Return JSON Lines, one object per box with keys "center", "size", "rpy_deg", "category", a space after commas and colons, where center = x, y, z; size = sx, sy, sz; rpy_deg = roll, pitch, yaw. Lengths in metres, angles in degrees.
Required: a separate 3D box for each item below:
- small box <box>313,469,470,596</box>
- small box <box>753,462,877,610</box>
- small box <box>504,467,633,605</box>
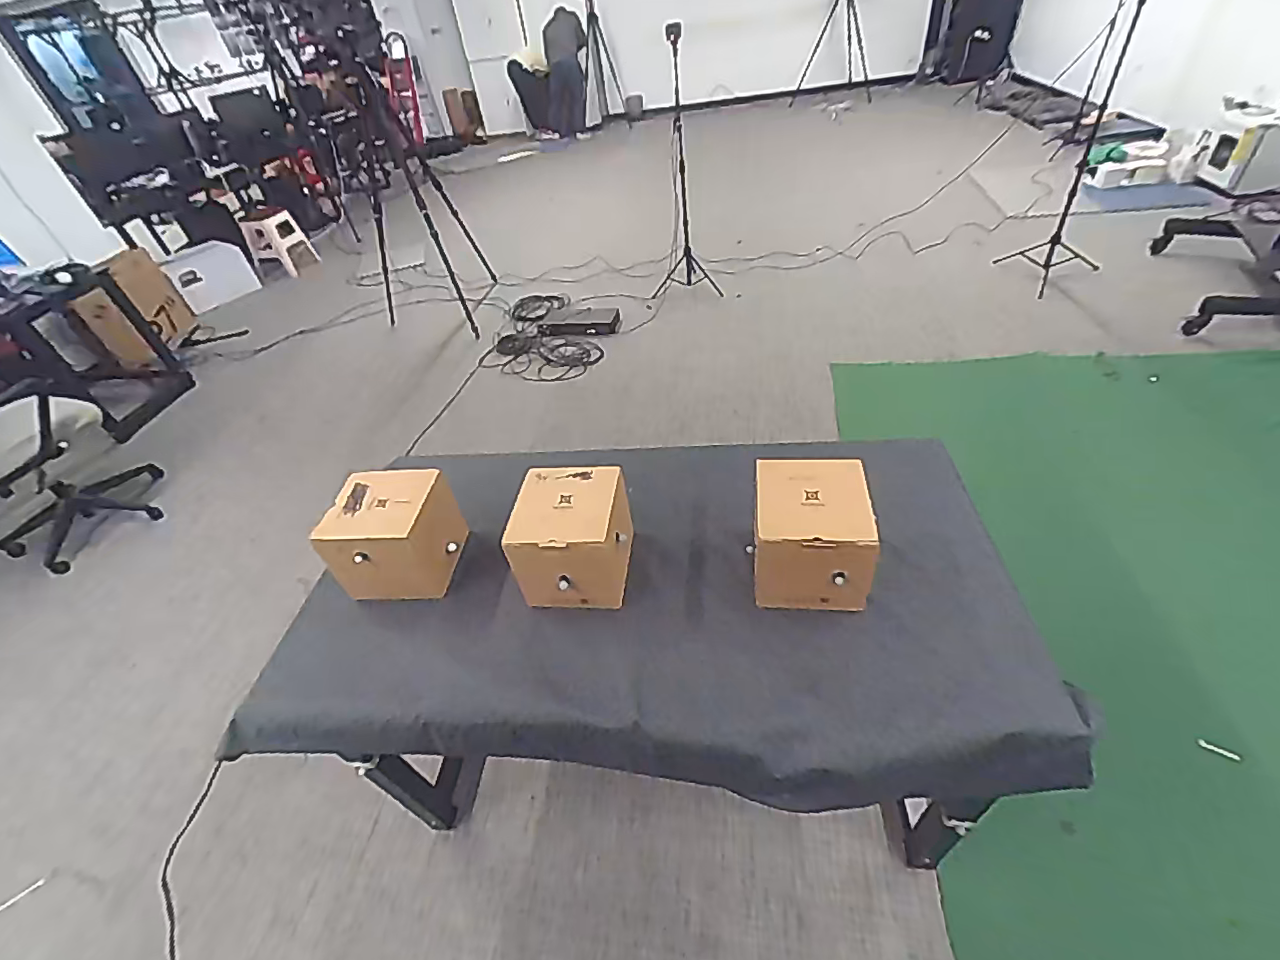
{"center": [-0.437, 0.098, 0.982], "size": [0.179, 0.176, 0.168], "rpy_deg": [-2, 43, 7], "category": "small box"}
{"center": [0.269, 0.090, 0.869], "size": [0.168, 0.176, 0.179], "rpy_deg": [1, 42, 10], "category": "small box"}
{"center": [-0.110, 0.098, 0.926], "size": [0.168, 0.176, 0.179], "rpy_deg": [-1, 43, 9], "category": "small box"}
